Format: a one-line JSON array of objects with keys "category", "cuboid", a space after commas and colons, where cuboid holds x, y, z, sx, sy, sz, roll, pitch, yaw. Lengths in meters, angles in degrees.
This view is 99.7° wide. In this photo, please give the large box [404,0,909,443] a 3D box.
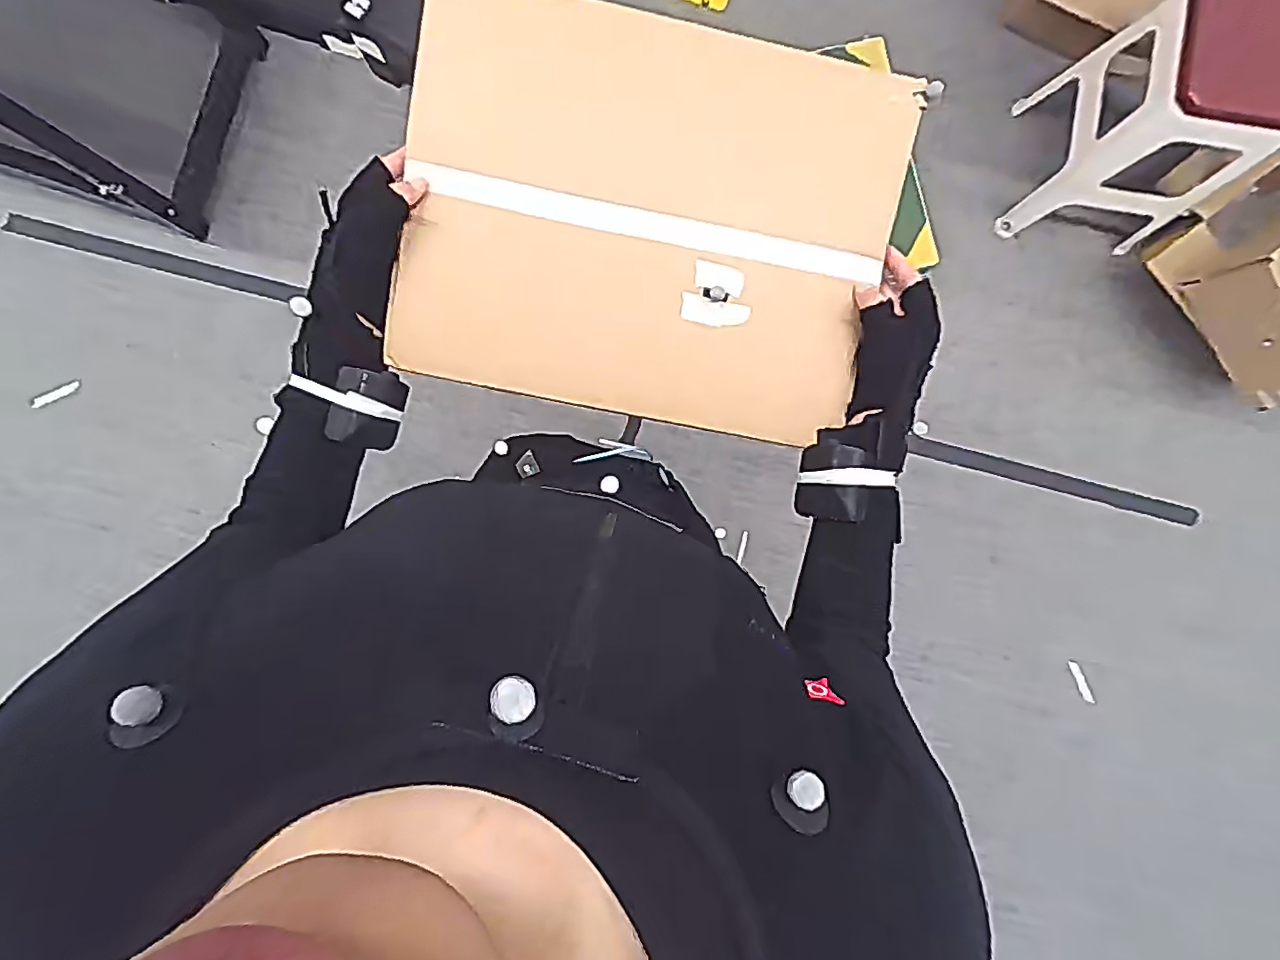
[{"category": "large box", "cuboid": [0.002, -0.236, 0.615, 0.408, 0.320, 0.320, 10, 99, -5]}]
